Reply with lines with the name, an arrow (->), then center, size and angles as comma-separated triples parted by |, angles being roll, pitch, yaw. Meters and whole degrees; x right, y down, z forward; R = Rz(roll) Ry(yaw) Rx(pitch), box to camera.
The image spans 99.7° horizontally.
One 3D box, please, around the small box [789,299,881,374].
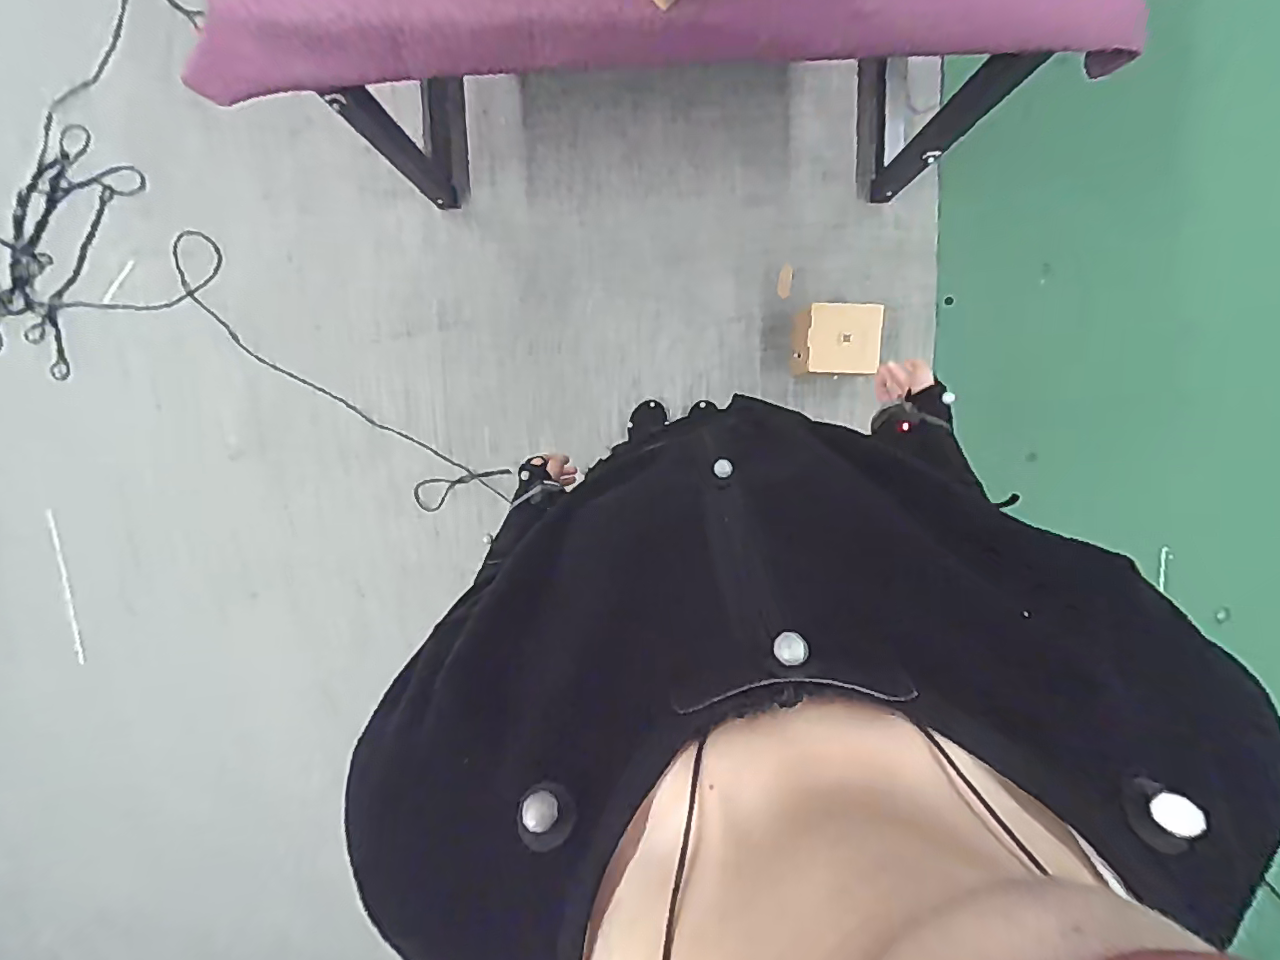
small box -> 0.487, -0.358, 1.377 | 0.179, 0.176, 0.168 | 2, 98, 0
